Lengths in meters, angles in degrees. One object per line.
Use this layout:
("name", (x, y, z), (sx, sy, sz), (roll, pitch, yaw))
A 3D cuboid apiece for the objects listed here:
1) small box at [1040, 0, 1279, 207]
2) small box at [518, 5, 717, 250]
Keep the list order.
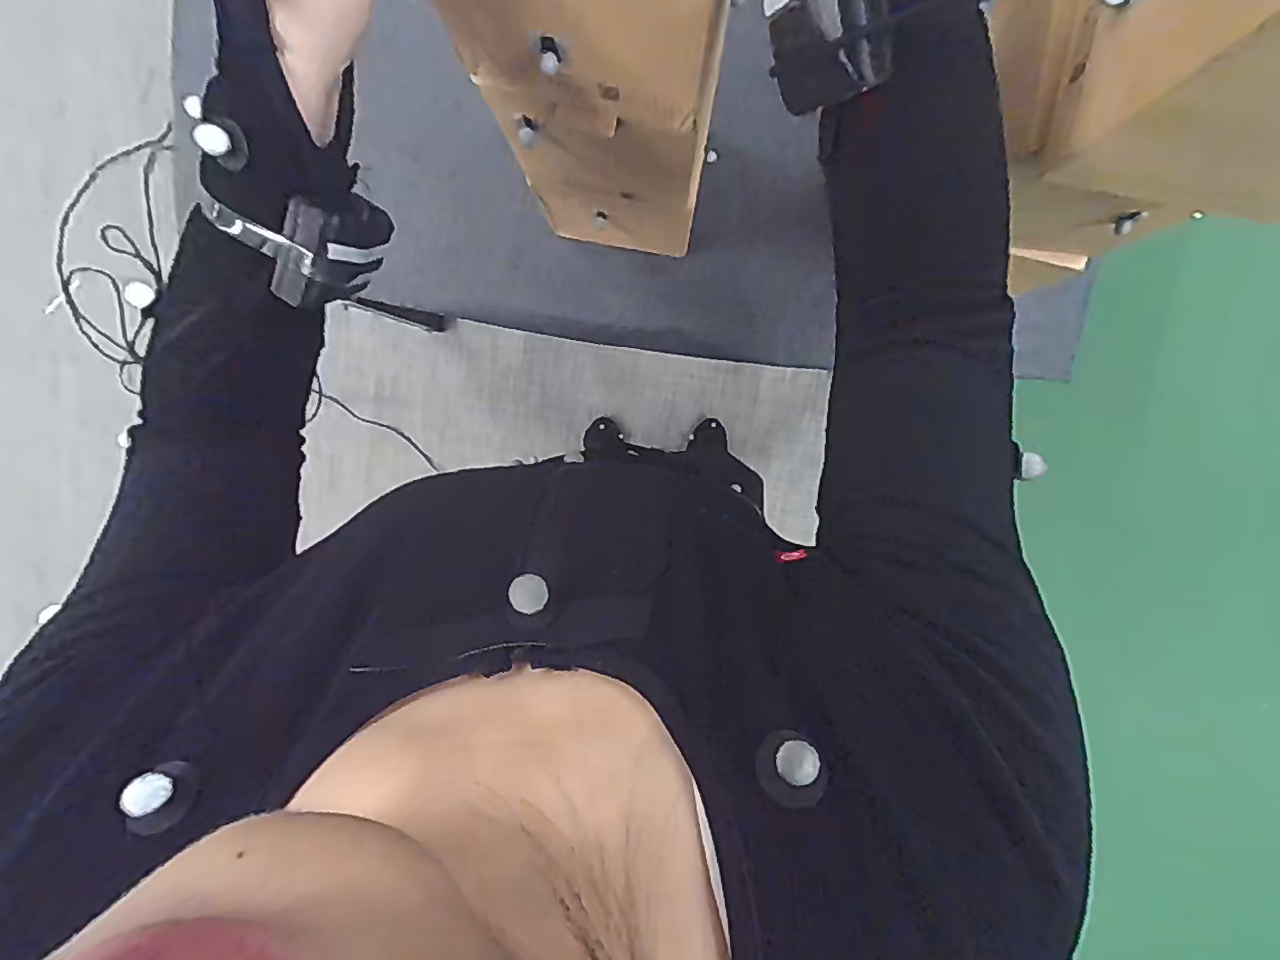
("small box", (0.368, -0.268, 0.282), (0.179, 0.176, 0.168), (11, 94, 1))
("small box", (-0.021, -0.379, 0.614), (0.179, 0.176, 0.168), (10, 97, 1))
